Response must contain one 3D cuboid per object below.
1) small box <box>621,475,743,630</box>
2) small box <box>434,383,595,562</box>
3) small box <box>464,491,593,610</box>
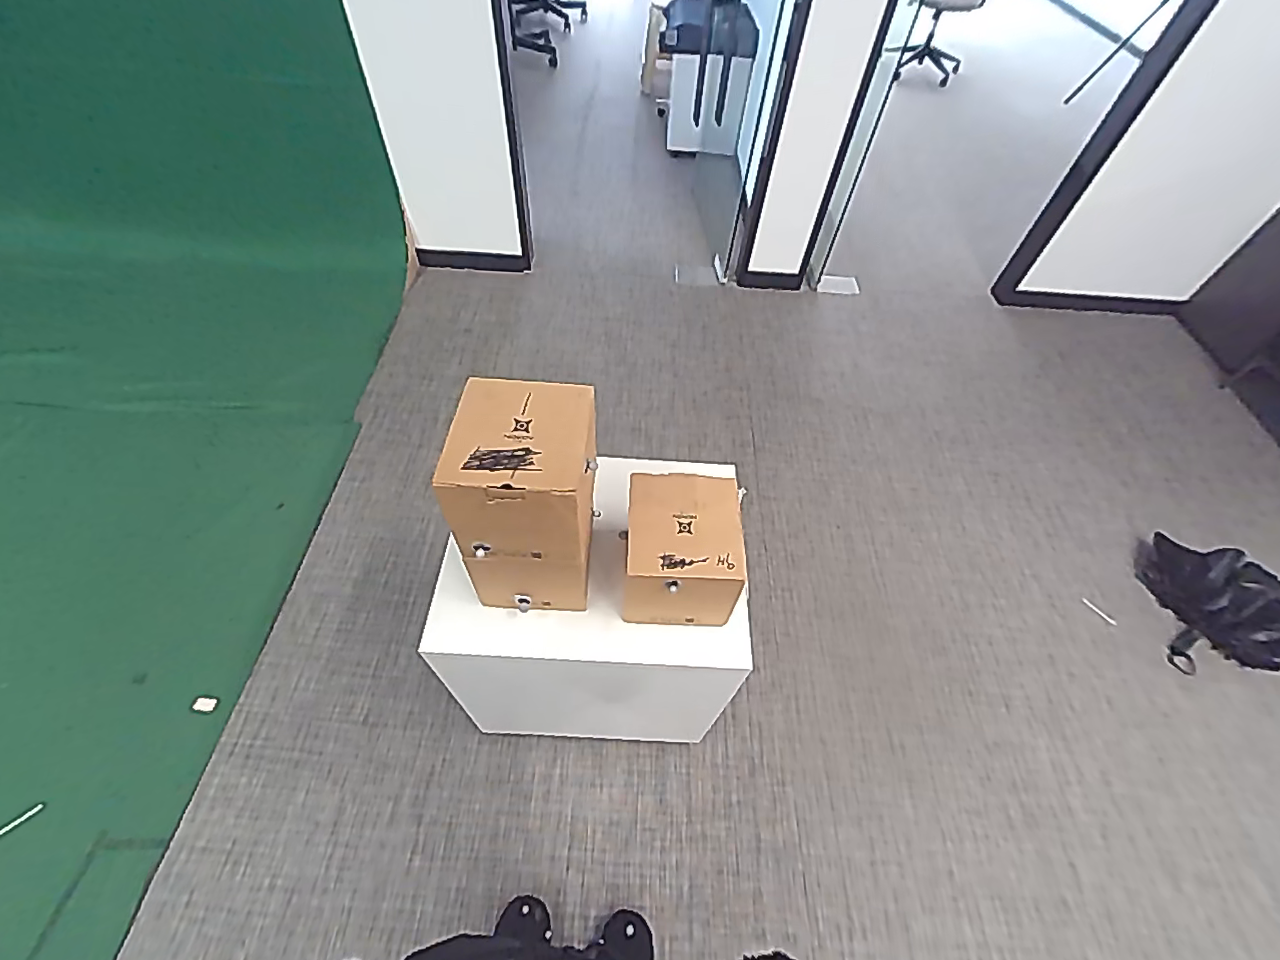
[{"bbox_3d":[0.058,0.115,0.849,0.168,0.176,0.179,4,52,-2],"label":"small box"},{"bbox_3d":[-0.151,-0.005,0.723,0.168,0.176,0.179,4,51,0],"label":"small box"},{"bbox_3d":[-0.160,0.085,0.840,0.168,0.176,0.179,1,54,-2],"label":"small box"}]
